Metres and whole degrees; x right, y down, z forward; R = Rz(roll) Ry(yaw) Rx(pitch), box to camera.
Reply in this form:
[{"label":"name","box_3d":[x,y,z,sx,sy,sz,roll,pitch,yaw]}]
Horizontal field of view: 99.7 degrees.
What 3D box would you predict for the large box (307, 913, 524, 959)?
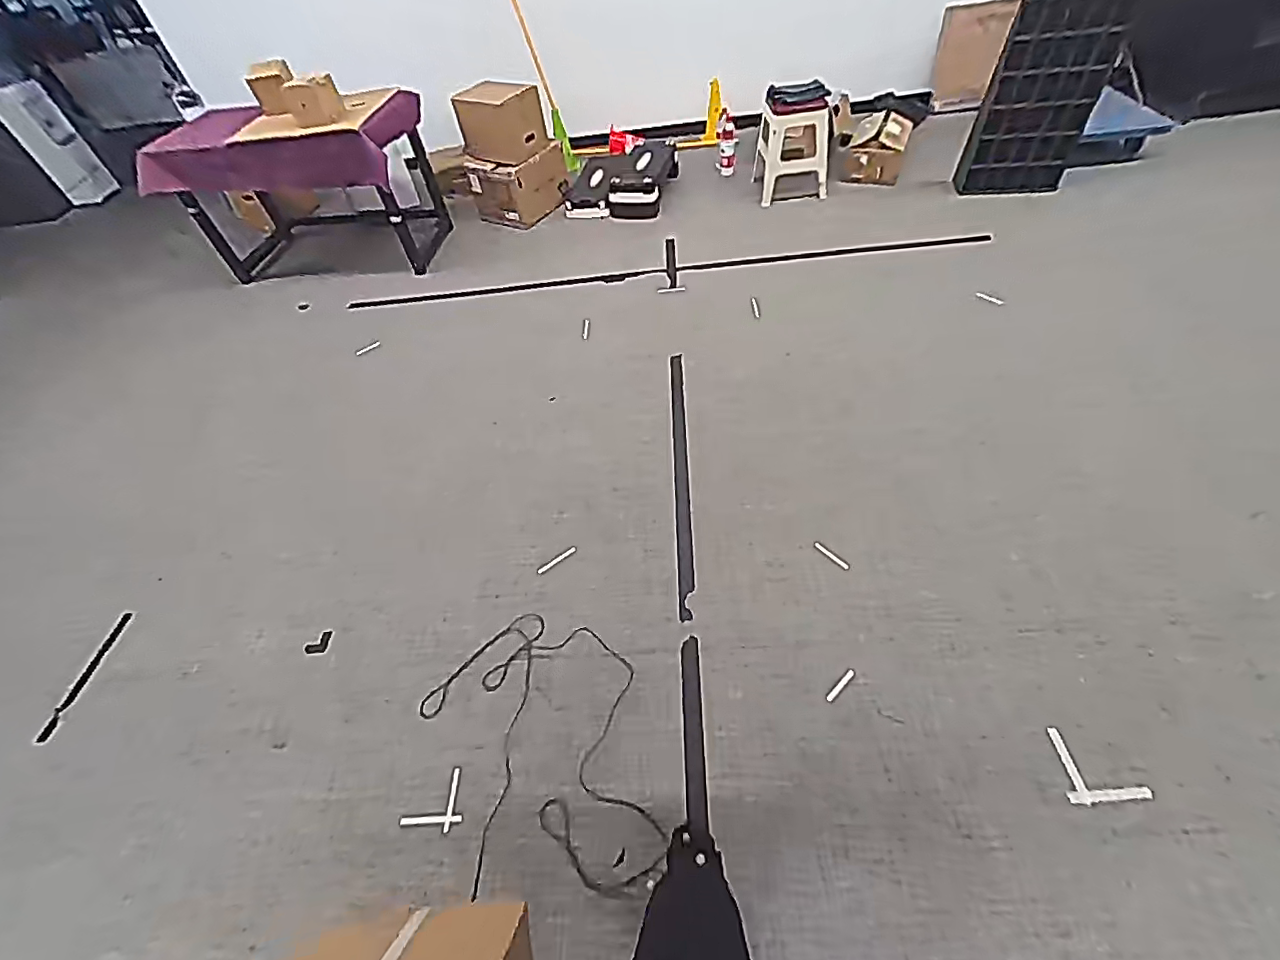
[{"label":"large box","box_3d":[-0.313,0.794,0.603,0.320,0.408,0.320,-9,82,1]}]
